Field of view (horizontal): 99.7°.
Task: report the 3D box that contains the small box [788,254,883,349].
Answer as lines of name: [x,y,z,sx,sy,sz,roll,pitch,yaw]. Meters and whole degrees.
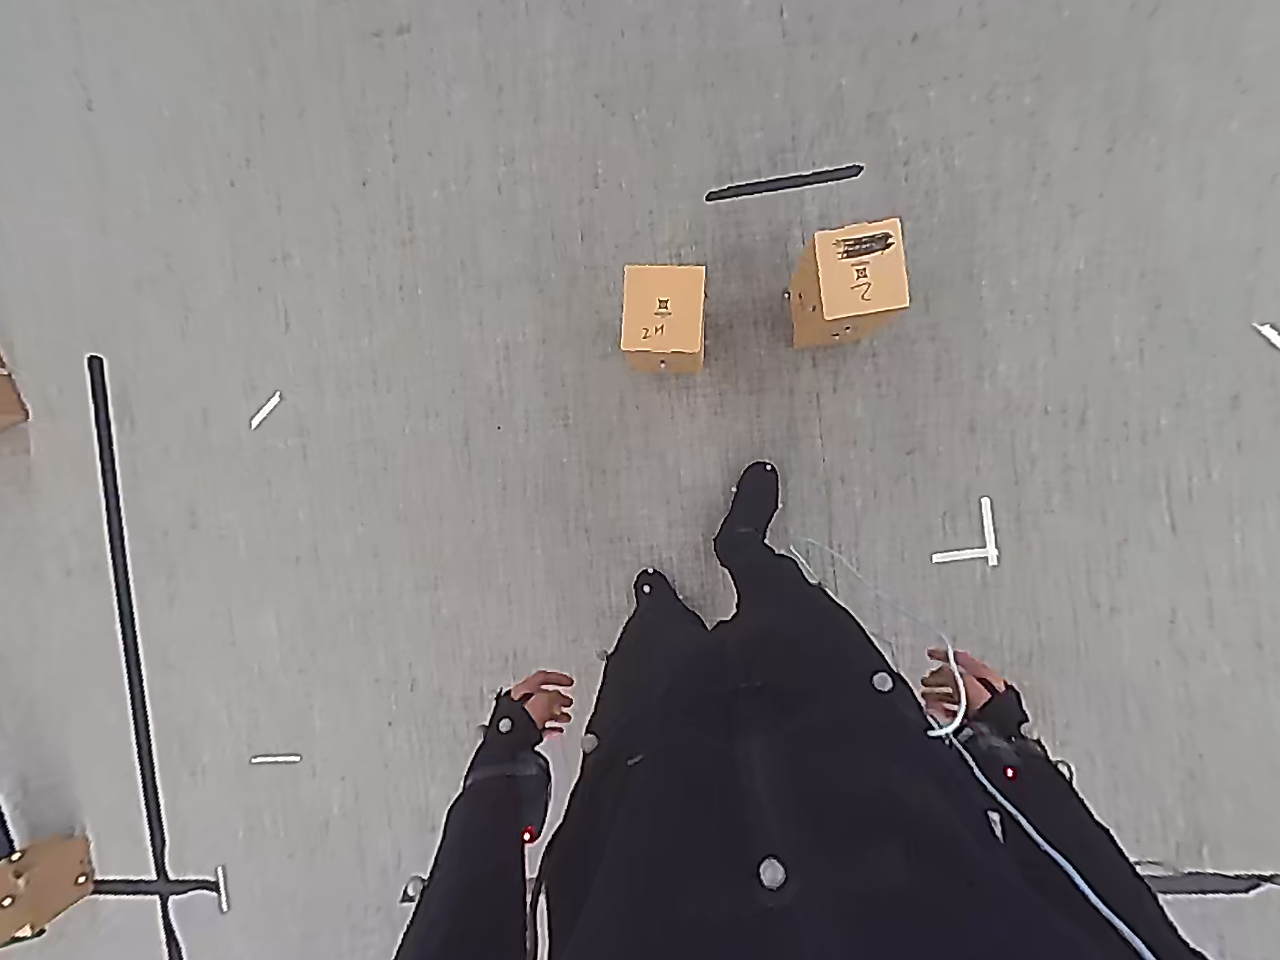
small box: [0.459,-0.420,1.299,0.179,0.176,0.168,-7,92,5]

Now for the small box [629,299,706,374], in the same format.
small box: [0.071,-0.359,1.344,0.179,0.176,0.168,2,93,7]

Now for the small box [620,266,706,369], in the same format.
small box: [0.054,-0.348,1.180,0.168,0.176,0.179,4,93,7]
